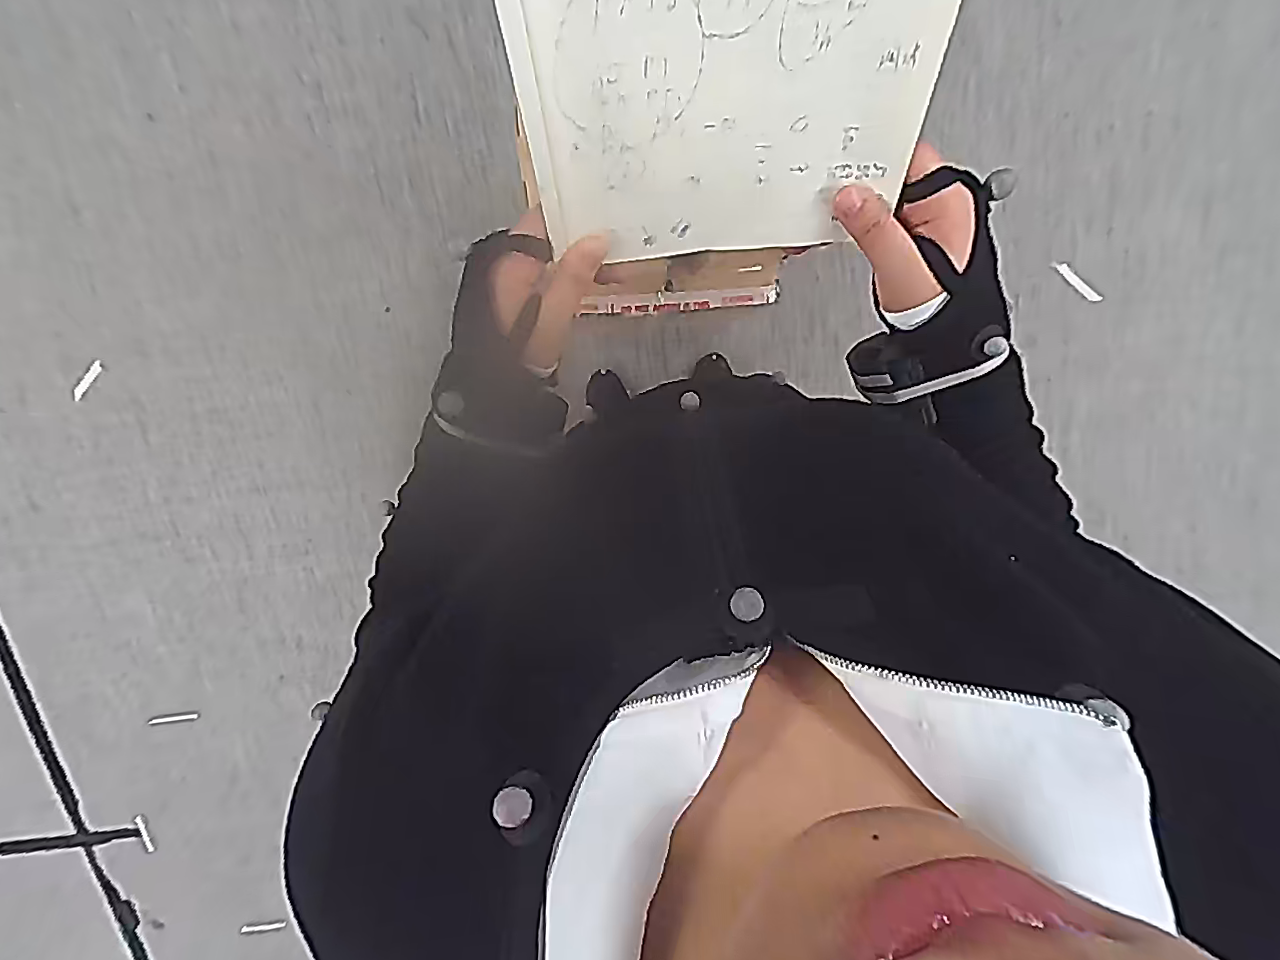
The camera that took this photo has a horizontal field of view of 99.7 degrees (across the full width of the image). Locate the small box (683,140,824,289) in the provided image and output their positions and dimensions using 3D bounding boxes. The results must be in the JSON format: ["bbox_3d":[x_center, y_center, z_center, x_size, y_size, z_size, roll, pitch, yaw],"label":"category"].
[{"bbox_3d":[0.171,-0.406,0.852,0.179,0.176,0.168,-9,103,0],"label":"small box"}]

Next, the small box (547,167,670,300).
[{"bbox_3d":[-0.044,-0.380,0.855,0.179,0.176,0.168,0,104,1],"label":"small box"}]
